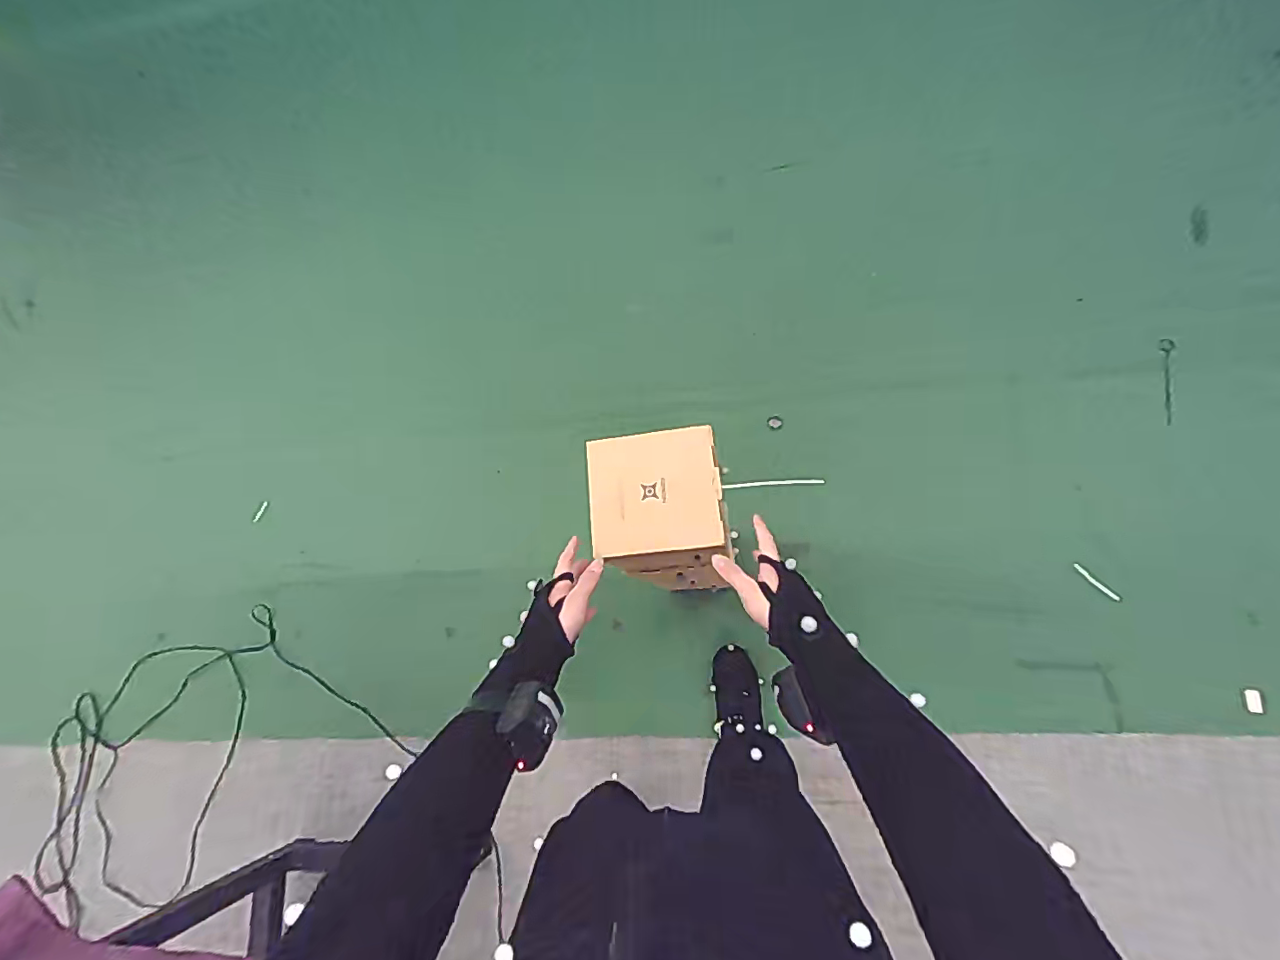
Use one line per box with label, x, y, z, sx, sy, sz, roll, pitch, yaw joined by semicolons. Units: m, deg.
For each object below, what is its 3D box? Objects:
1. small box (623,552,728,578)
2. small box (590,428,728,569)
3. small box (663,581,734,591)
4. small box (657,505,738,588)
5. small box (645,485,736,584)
small box;0.061;0.078;0.945;0.168;0.176;0.179;-7;76;9
small box;0.034;0.036;0.789;0.179;0.176;0.168;-7;74;10
small box;0.152;0.201;1.410;0.179;0.176;0.168;-5;75;10
small box;0.130;0.159;1.255;0.179;0.176;0.168;-8;75;9
small box;0.098;0.118;1.099;0.179;0.176;0.168;-9;75;8
